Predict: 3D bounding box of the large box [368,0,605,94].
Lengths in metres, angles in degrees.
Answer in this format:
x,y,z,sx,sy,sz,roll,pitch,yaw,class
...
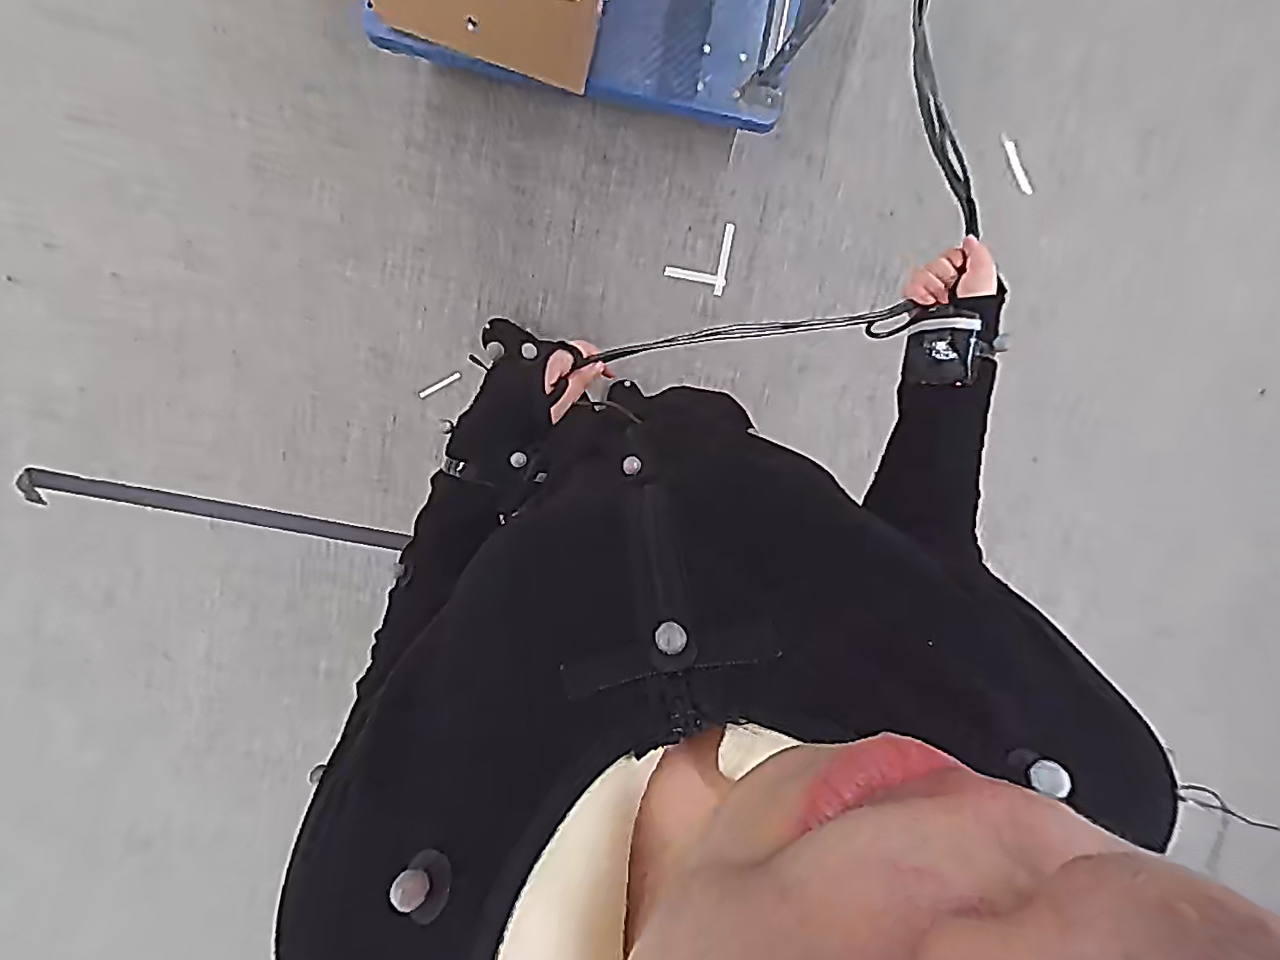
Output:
x,y,z,sx,sy,sz,roll,pitch,yaw,class
-0.254,-0.940,0.914,0.408,0.320,0.320,14,101,-7,large box
